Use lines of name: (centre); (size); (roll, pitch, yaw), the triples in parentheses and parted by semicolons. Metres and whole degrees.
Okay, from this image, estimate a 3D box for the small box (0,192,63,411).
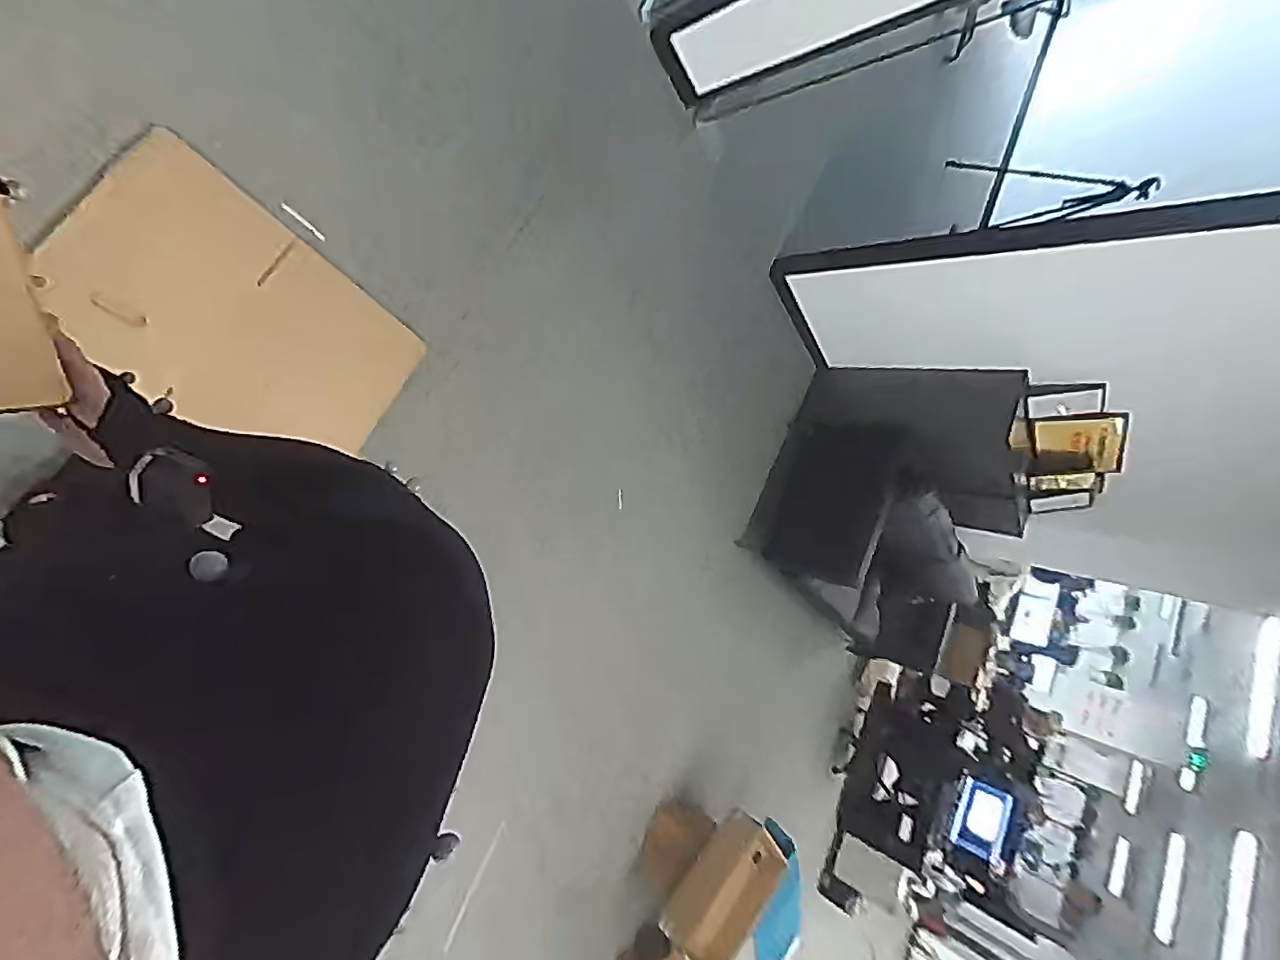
small box: (-0.482, -0.122, 0.317); (0.168, 0.176, 0.179); (-18, 108, -42)
